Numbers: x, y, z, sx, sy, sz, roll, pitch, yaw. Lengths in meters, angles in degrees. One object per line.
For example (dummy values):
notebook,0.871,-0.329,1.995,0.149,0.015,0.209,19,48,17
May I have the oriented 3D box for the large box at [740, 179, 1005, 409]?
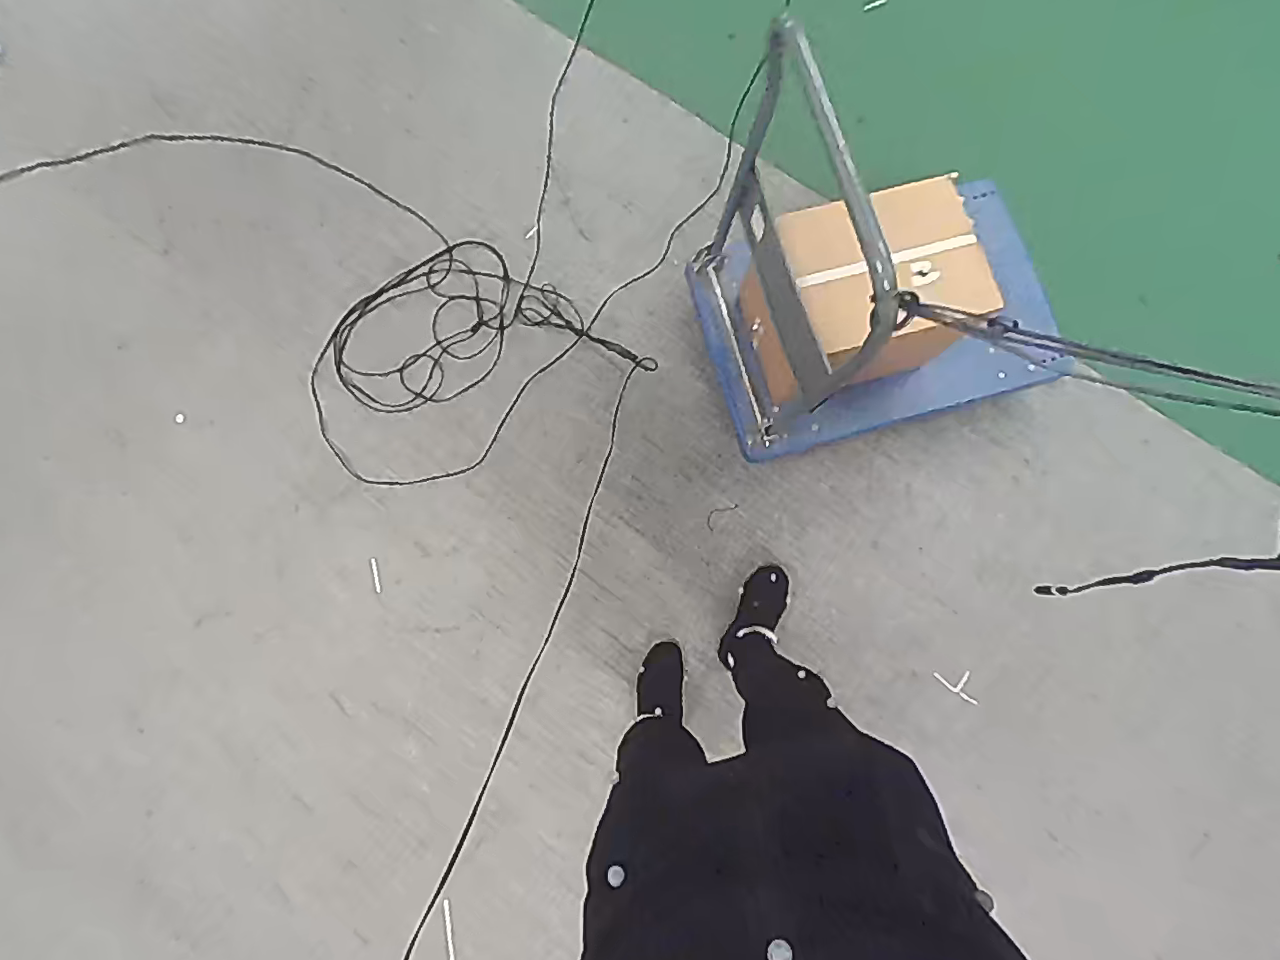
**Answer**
large box,0.488,-0.396,1.223,0.408,0.320,0.320,-16,81,-4
